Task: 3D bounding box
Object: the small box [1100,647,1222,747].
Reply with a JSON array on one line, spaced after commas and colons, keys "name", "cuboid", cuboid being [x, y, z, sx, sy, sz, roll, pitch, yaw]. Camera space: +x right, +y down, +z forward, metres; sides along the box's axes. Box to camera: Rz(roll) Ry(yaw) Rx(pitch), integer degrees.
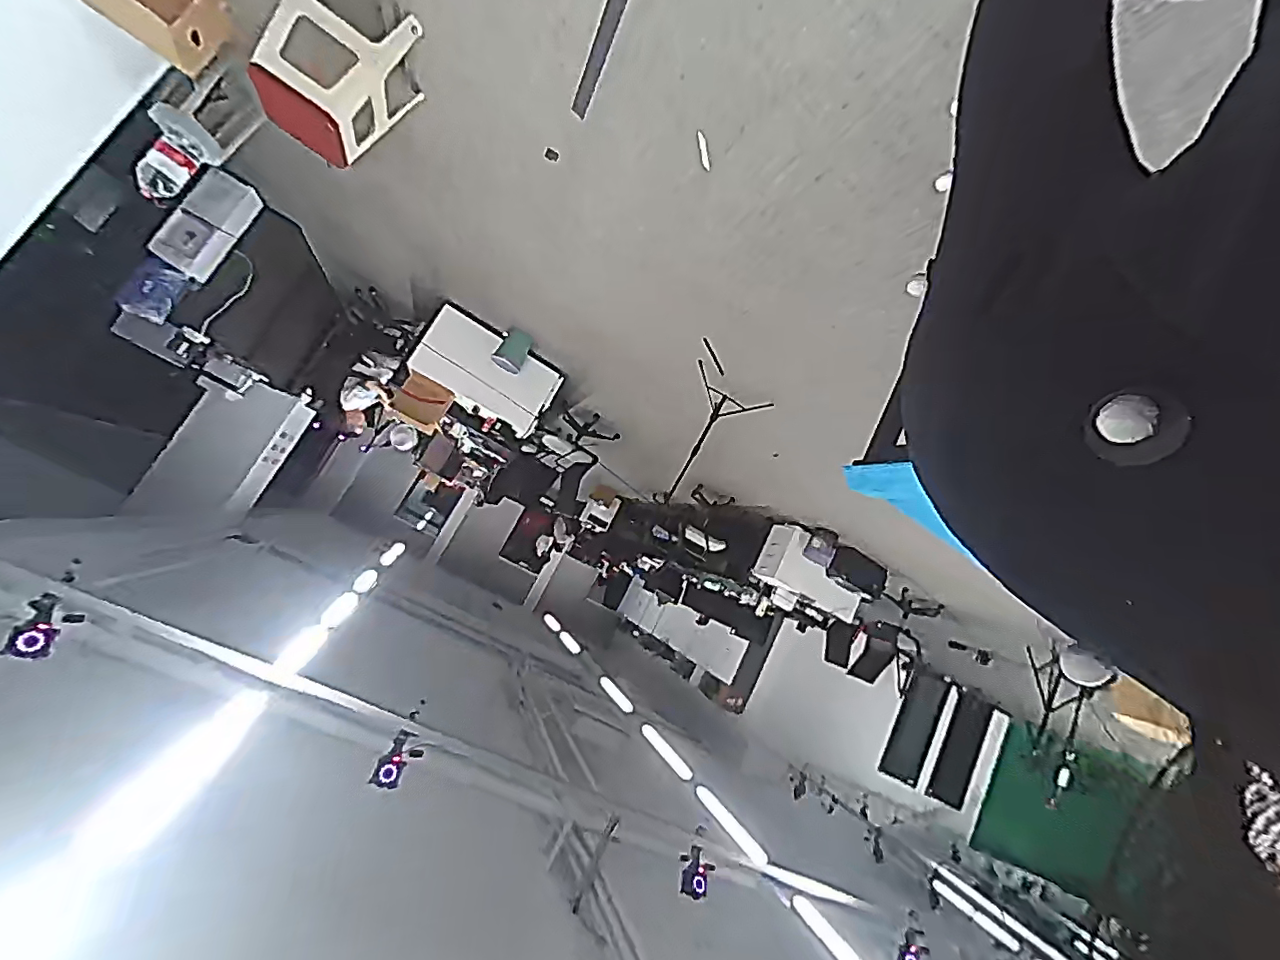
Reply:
[{"name": "small box", "cuboid": [1.345, 0.561, 1.400, 0.168, 0.176, 0.179, 33, 165, -25]}]
